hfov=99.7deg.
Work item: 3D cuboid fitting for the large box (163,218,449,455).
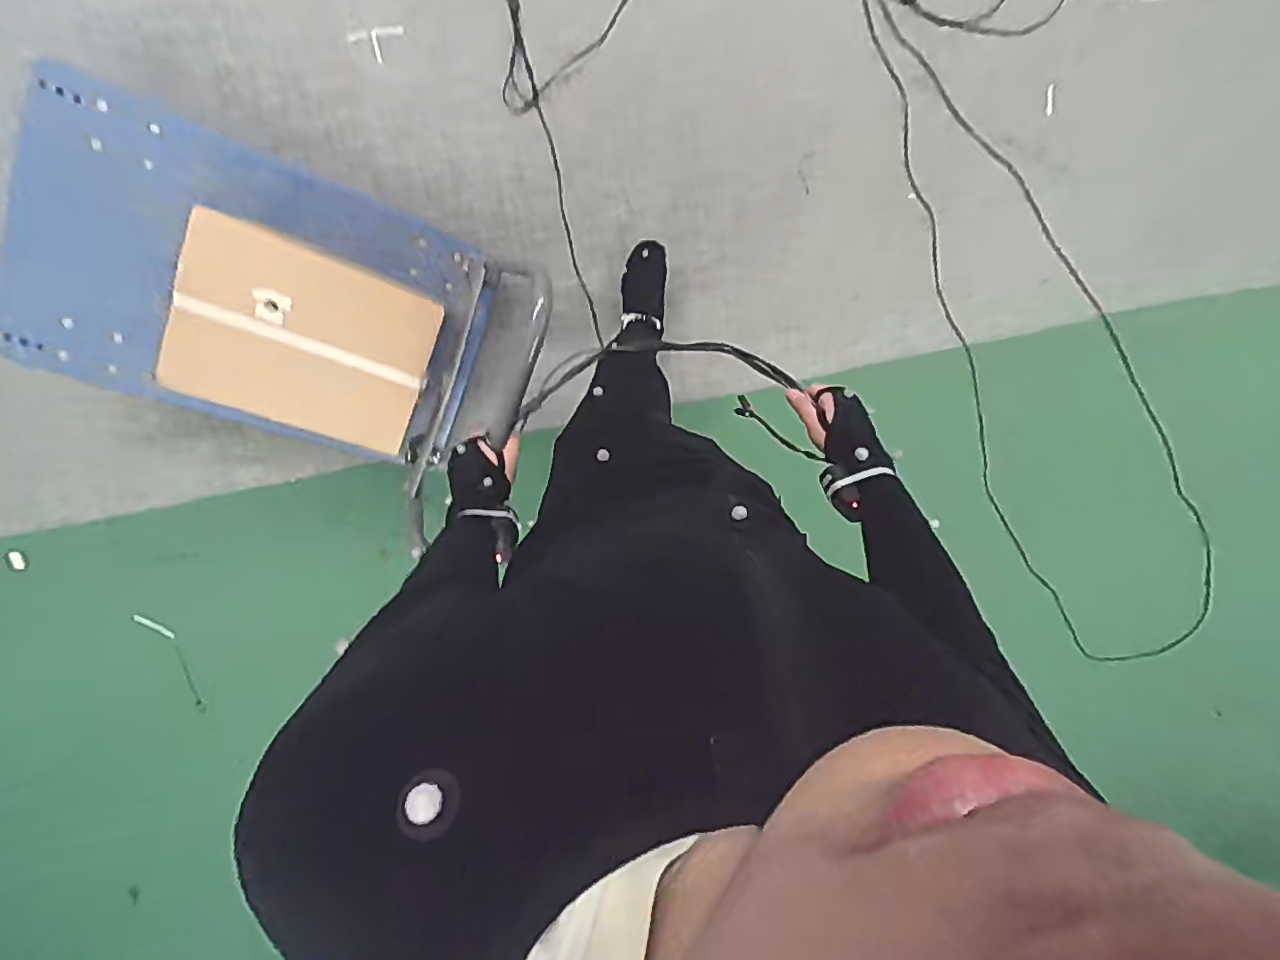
[{"bbox_3d":[-0.644,-0.286,1.121,0.408,0.320,0.320,19,101,-23],"label":"large box"}]
